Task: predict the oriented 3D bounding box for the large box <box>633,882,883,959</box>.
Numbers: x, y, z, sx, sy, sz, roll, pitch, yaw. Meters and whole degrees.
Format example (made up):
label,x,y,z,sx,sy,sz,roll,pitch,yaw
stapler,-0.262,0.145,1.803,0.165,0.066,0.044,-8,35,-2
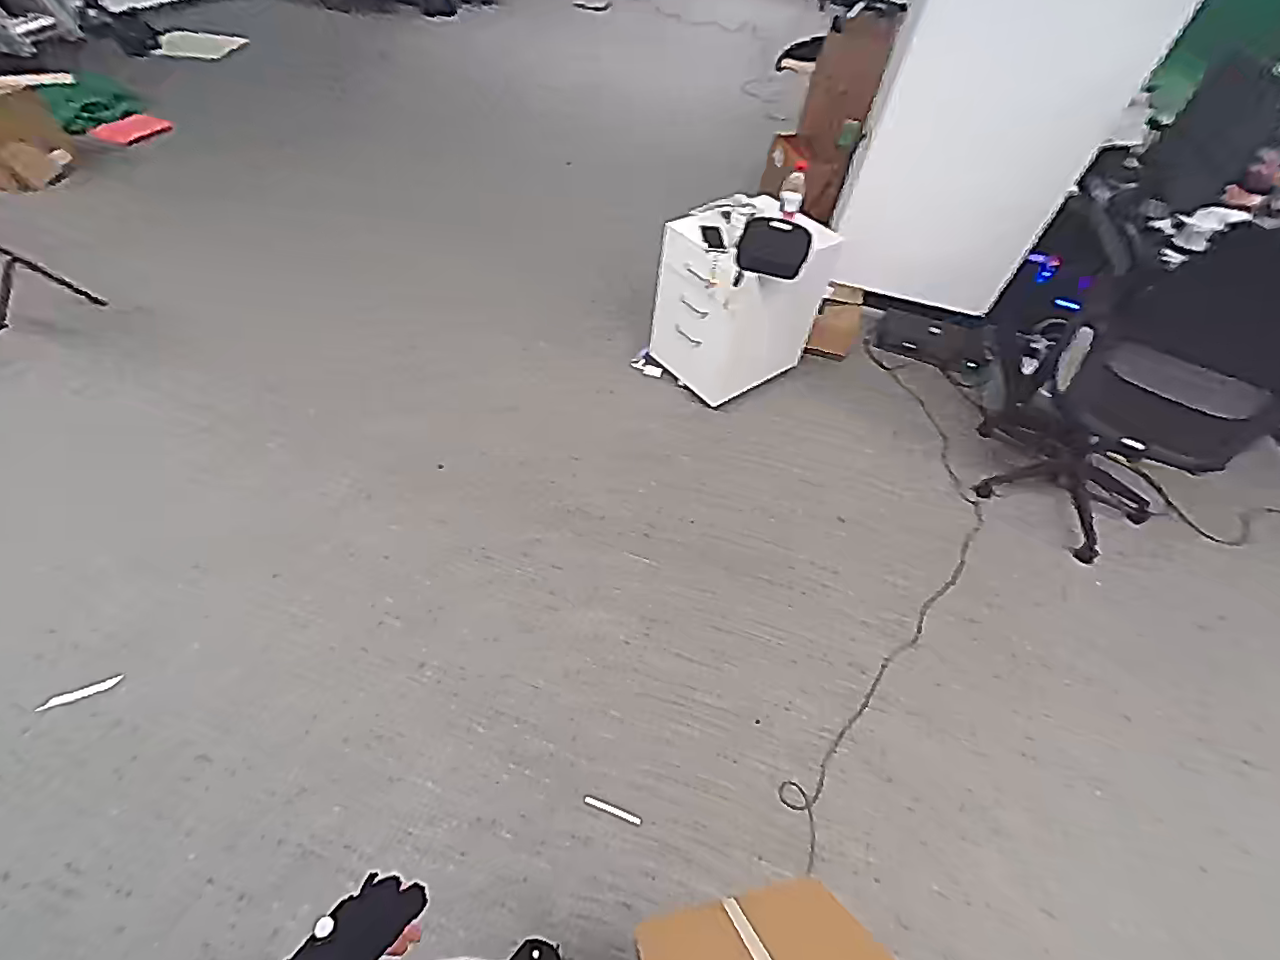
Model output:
label,x,y,z,sx,sy,sz,roll,pitch,yaw
large box,0.191,0.792,0.657,0.320,0.408,0.320,-6,80,-11
